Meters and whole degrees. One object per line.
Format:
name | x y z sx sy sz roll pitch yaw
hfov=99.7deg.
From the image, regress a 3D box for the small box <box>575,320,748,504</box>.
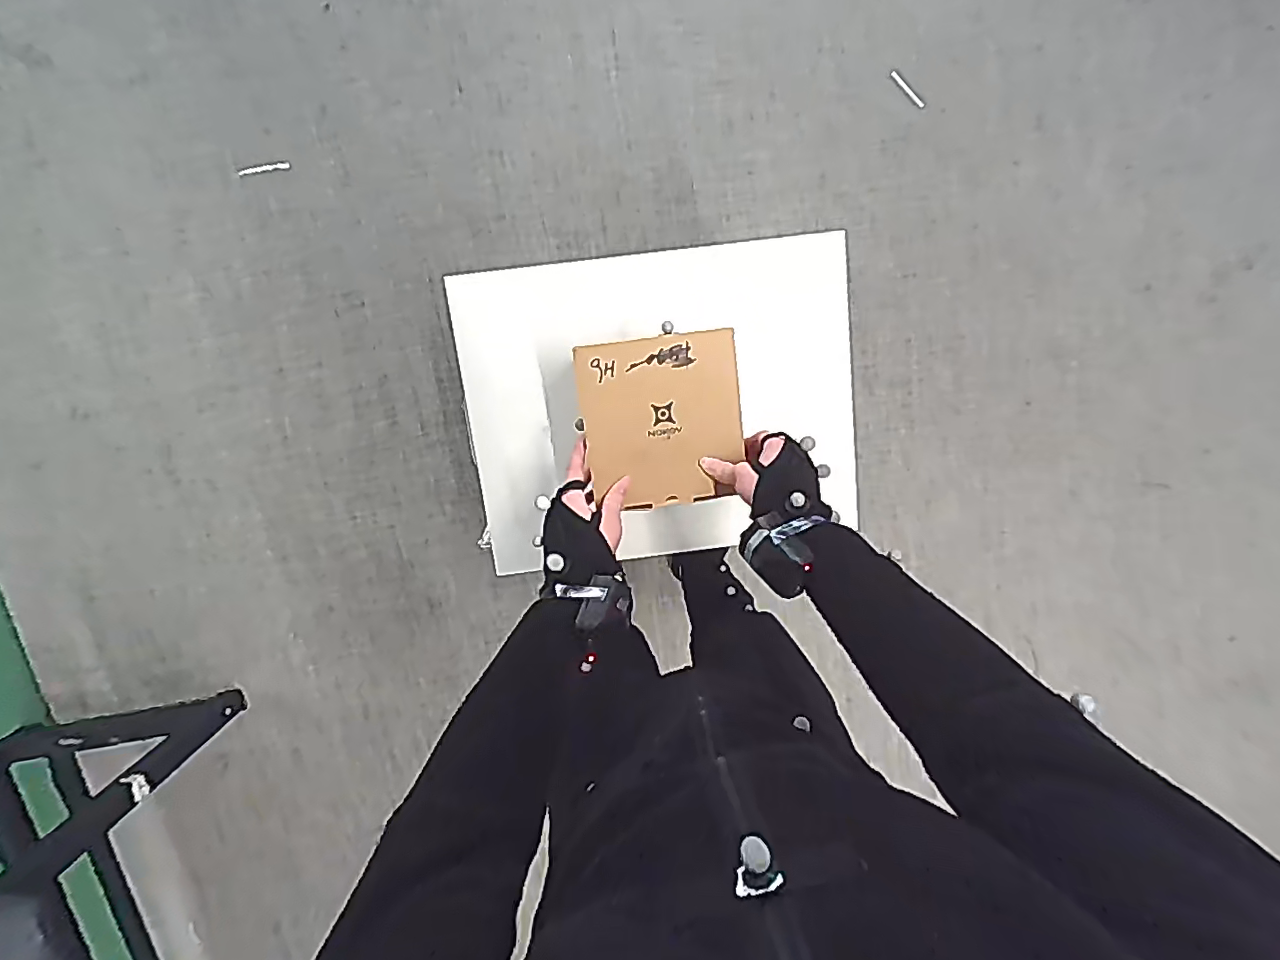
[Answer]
small box | 0.023 -0.084 0.646 0.168 0.176 0.179 -9 100 0
